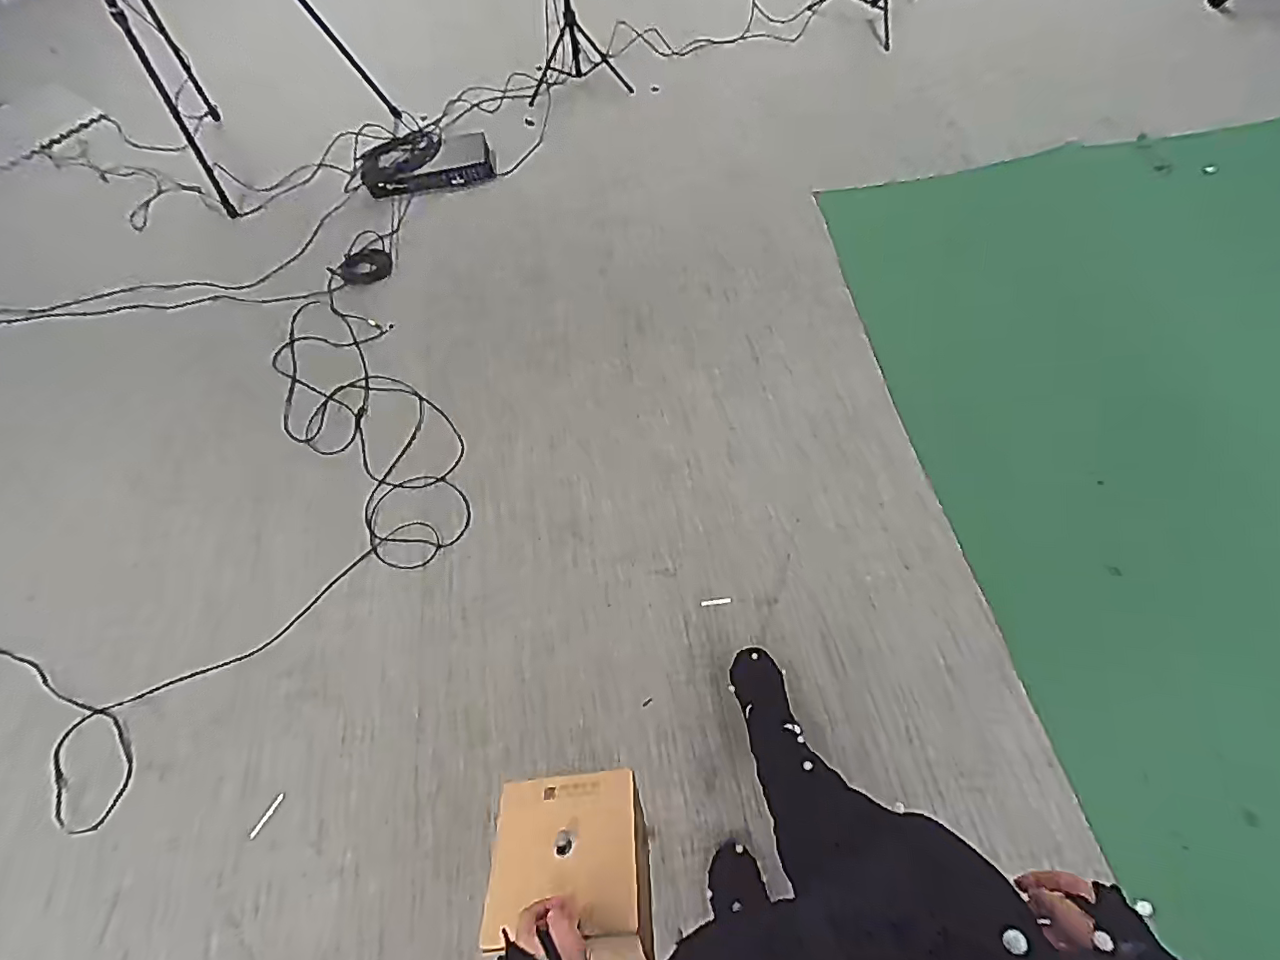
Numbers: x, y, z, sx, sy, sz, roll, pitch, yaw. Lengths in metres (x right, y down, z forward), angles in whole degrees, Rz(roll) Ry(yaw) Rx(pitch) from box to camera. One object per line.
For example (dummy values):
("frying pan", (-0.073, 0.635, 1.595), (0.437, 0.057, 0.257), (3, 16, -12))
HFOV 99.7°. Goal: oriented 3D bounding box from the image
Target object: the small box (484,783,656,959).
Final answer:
("small box", (-0.076, 0.493, 0.657), (0.168, 0.179, 0.176), (-8, 31, 1))
